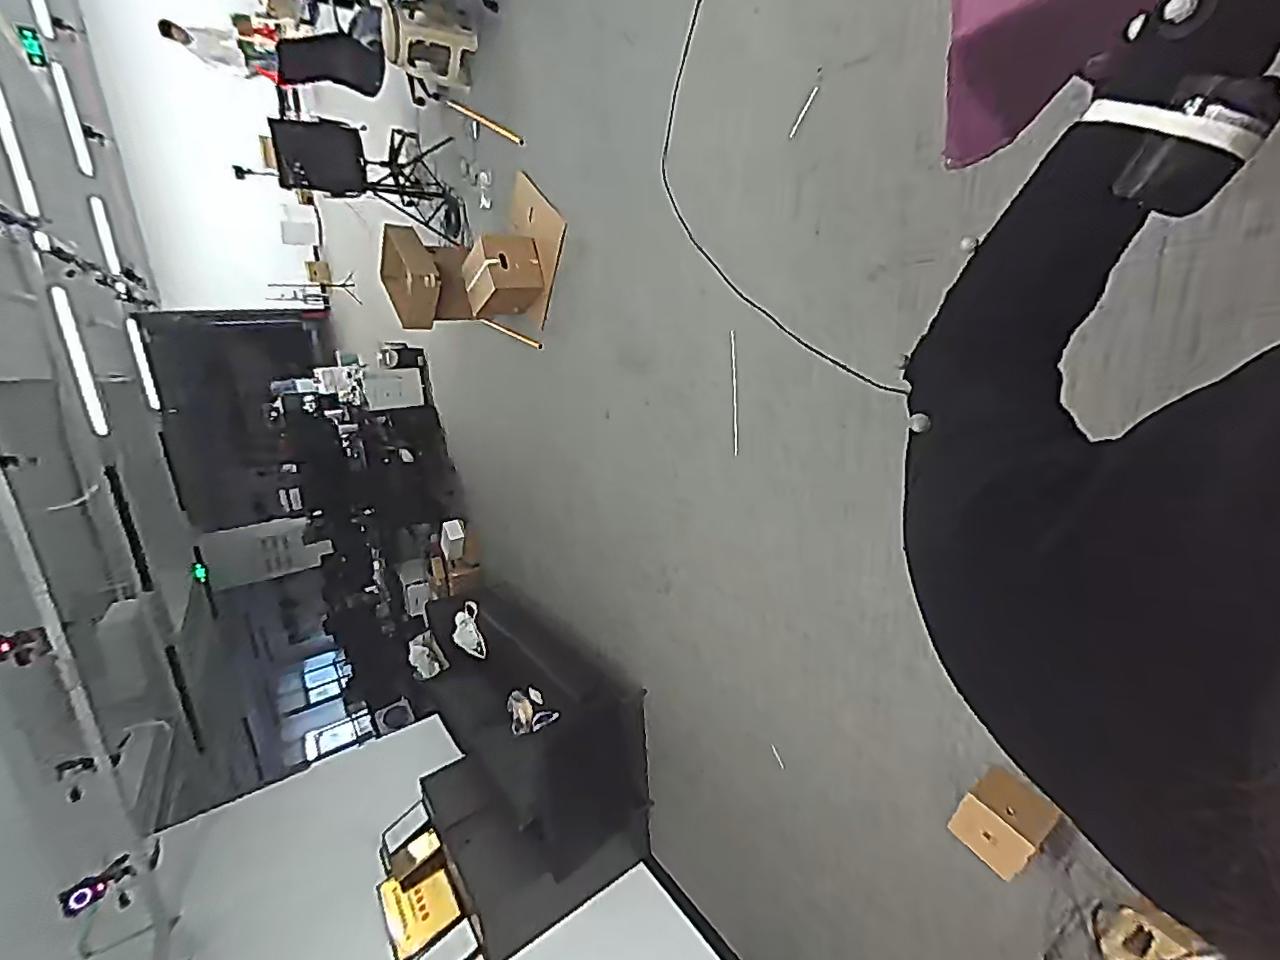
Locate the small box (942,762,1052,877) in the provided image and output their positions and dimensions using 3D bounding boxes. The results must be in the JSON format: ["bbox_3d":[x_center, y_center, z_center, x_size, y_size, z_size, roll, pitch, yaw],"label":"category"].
[{"bbox_3d":[0.989,0.931,1.497,0.179,0.176,0.168,38,131,44],"label":"small box"}]
